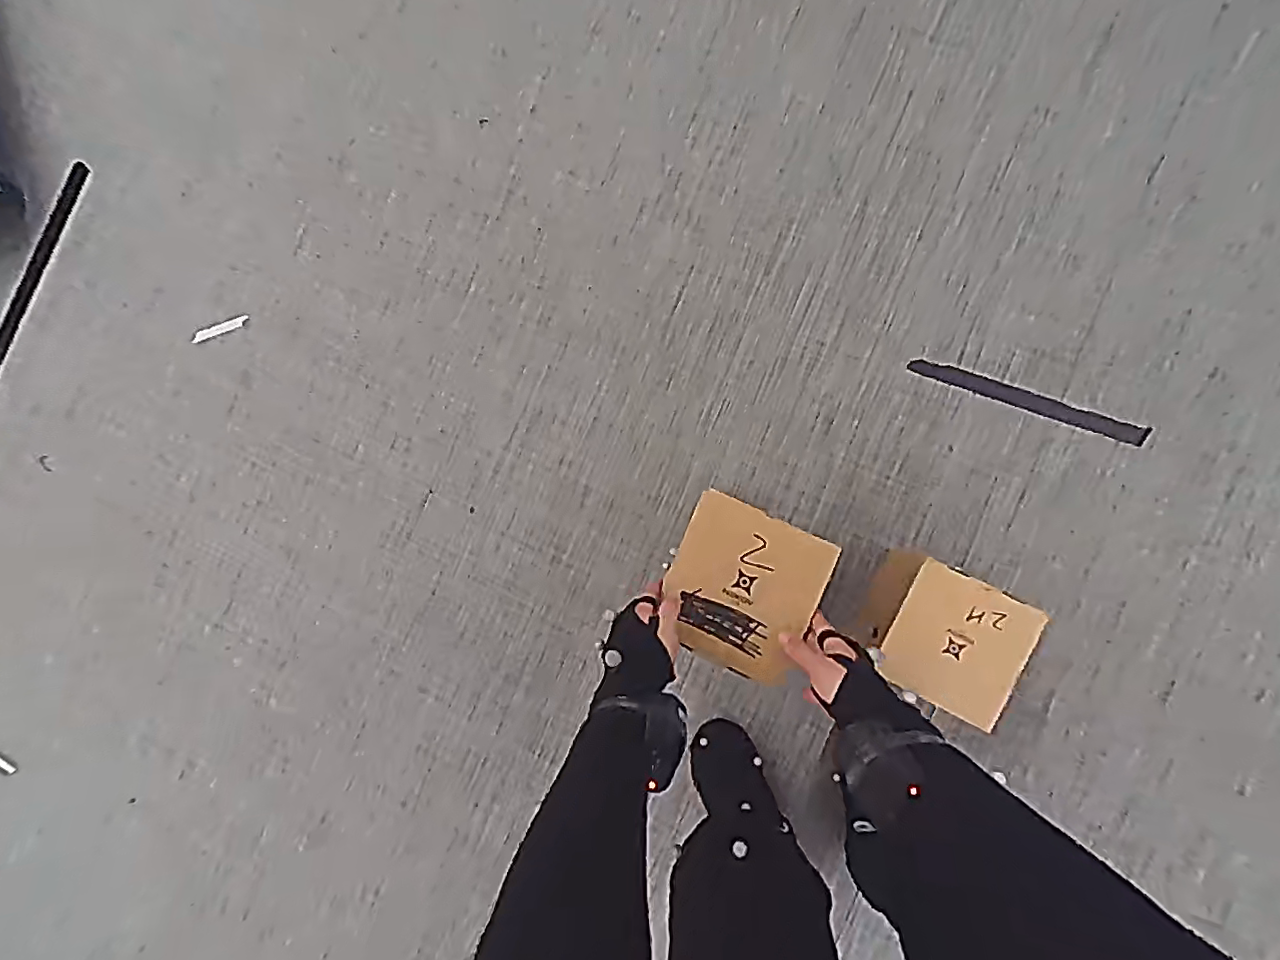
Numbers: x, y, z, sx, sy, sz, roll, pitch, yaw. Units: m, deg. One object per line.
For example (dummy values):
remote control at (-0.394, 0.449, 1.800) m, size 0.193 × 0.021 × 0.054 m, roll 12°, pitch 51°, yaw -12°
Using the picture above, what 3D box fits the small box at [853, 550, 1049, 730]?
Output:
small box at (0.430, 0.216, 0.785) m, size 0.168 × 0.176 × 0.179 m, roll 27°, pitch 90°, yaw 10°

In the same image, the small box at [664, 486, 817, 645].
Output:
small box at (0.152, 0.125, 0.843) m, size 0.168 × 0.176 × 0.179 m, roll 24°, pitch 90°, yaw 11°
